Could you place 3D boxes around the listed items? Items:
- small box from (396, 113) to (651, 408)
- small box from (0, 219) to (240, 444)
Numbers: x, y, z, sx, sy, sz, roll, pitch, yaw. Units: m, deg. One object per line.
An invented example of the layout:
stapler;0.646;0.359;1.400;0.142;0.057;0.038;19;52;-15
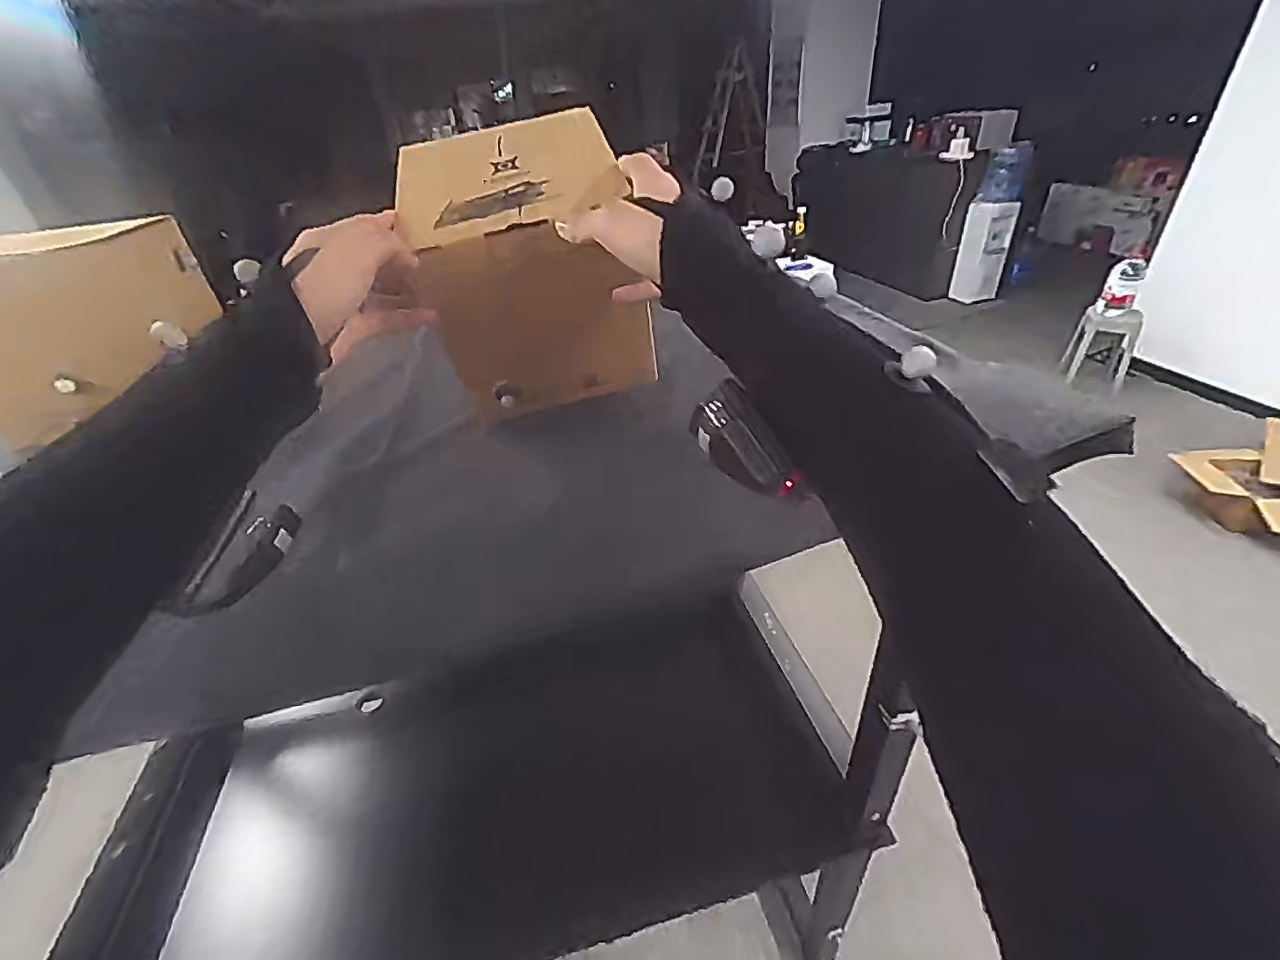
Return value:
small box;-0.093;-0.182;0.475;0.168;0.176;0.179;-15;52;-4
small box;-0.559;-0.159;0.561;0.168;0.176;0.179;-14;36;-11
